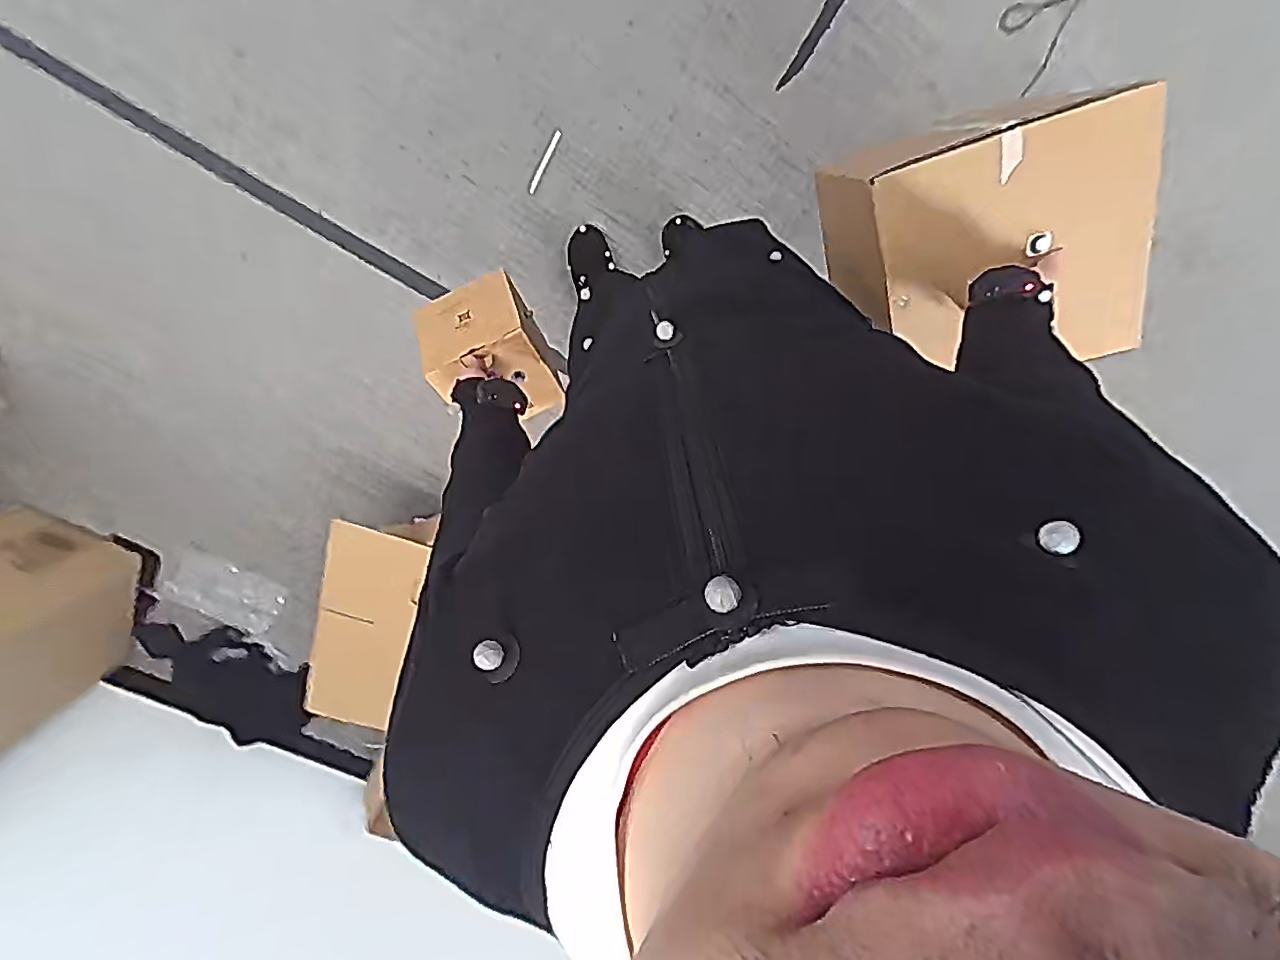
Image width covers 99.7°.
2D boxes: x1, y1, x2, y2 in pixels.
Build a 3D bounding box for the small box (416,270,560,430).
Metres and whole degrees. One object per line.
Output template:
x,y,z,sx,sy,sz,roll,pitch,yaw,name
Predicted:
-0.249,-0.206,0.903,0.168,0.179,0.176,-24,143,2,small box
